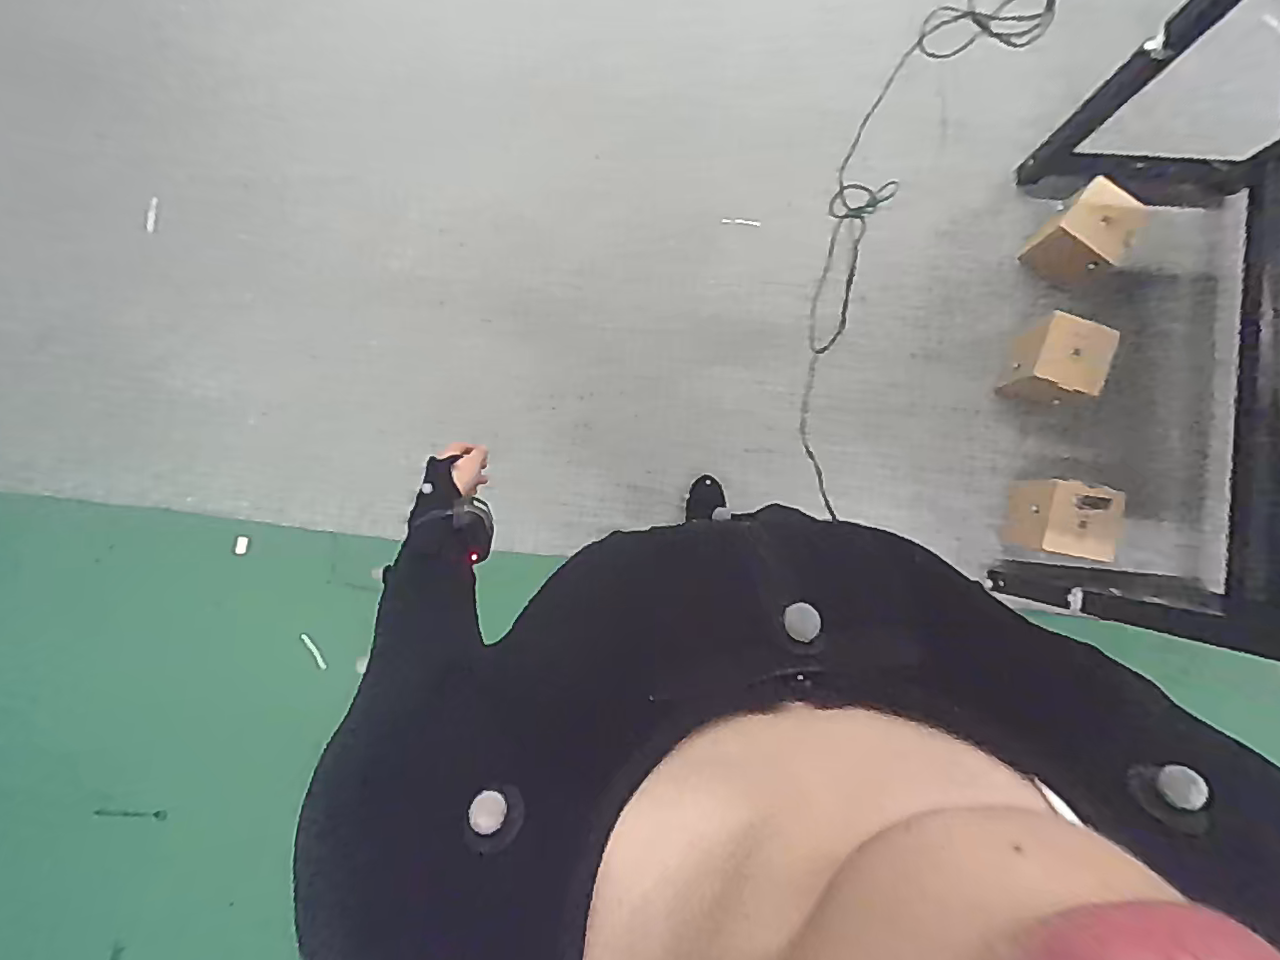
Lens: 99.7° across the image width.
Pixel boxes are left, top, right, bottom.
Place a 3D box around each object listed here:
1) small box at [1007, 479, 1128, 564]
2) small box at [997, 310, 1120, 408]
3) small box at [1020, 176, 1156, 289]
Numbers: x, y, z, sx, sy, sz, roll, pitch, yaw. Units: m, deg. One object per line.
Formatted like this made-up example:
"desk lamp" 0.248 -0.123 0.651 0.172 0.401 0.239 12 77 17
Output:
"small box" 1.061 0.101 1.355 0.168 0.176 0.179 11 88 4
"small box" 1.058 -0.301 1.383 0.168 0.176 0.179 20 86 3
"small box" 1.145 -0.629 1.401 0.179 0.176 0.168 38 89 4
